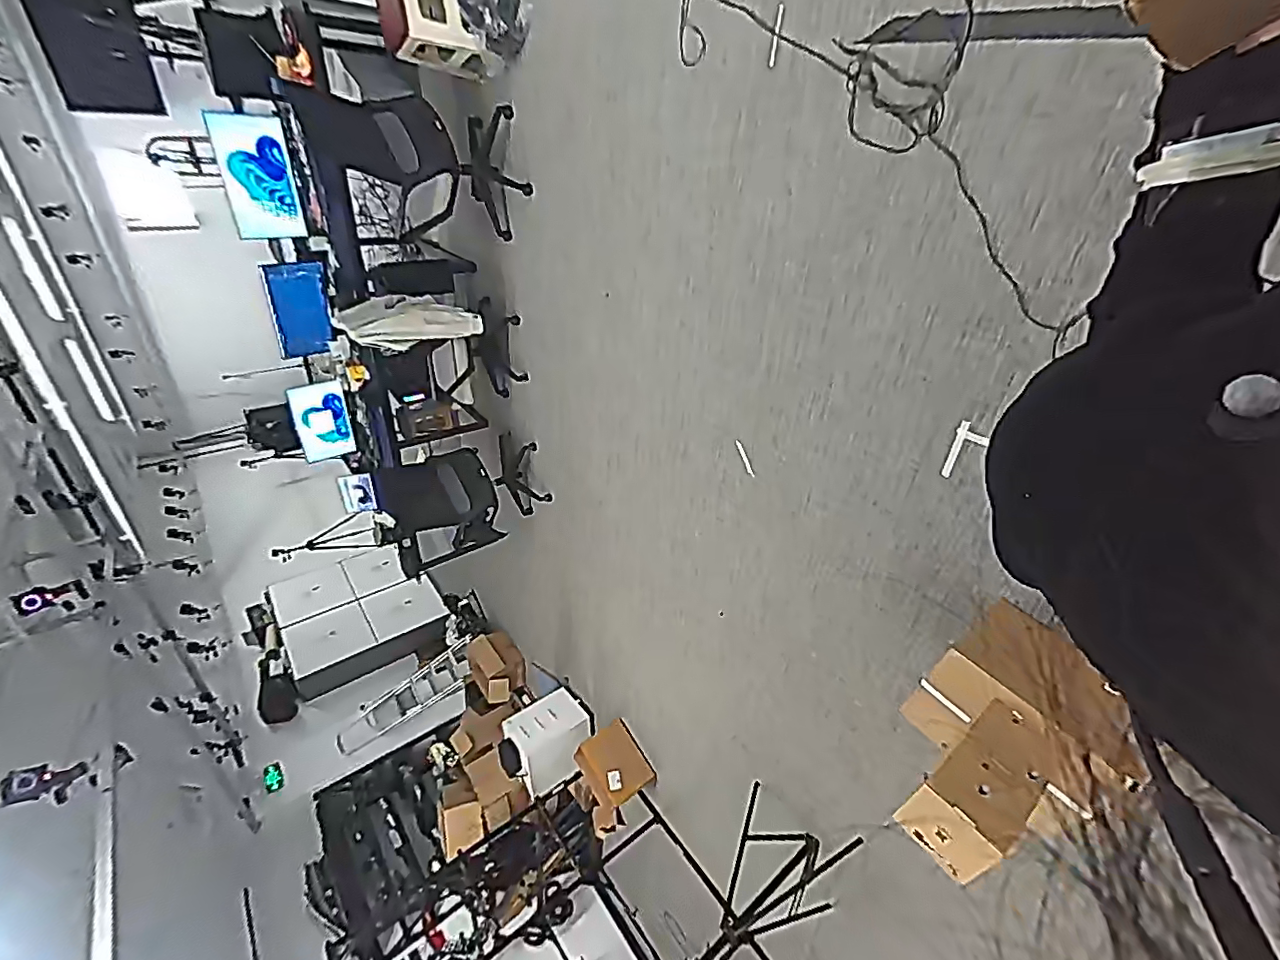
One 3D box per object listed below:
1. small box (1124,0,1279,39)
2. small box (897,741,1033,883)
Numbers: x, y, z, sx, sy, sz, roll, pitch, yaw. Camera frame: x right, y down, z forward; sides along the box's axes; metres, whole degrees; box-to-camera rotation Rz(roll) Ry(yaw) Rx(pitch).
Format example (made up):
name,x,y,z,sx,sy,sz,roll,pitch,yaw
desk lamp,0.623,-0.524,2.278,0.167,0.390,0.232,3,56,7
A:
name,x,y,z,sx,sy,sz,roll,pitch,yaw
small box,0.283,-0.314,0.203,0.168,0.176,0.179,-14,96,52
small box,0.699,0.701,1.158,0.168,0.176,0.179,42,137,35
